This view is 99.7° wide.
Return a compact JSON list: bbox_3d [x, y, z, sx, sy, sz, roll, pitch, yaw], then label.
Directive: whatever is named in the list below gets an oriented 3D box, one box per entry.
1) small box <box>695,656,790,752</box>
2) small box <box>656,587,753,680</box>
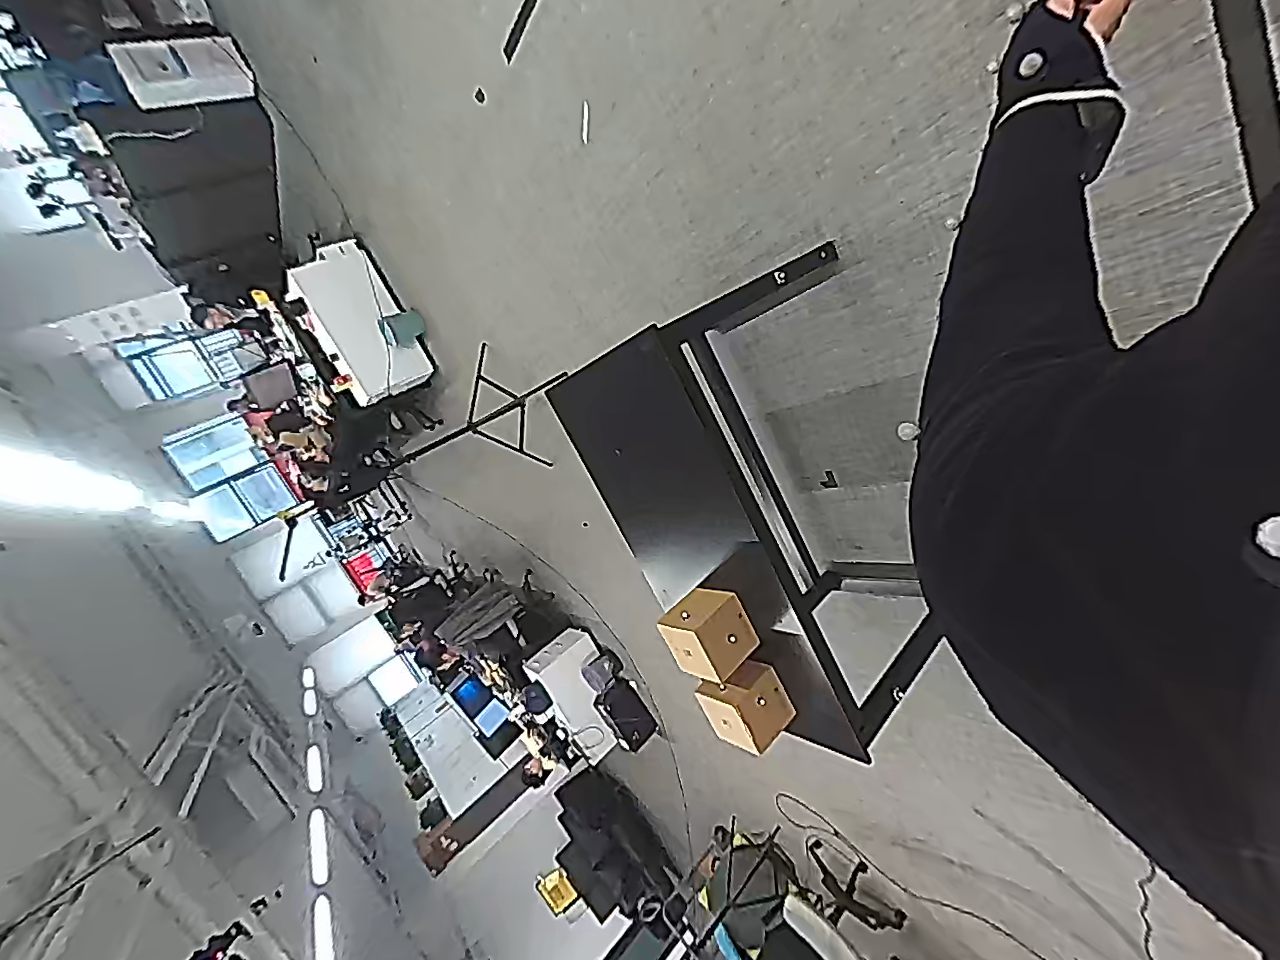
[{"bbox_3d":[0.293,0.614,1.513,0.179,0.176,0.168,-10,110,59],"label":"small box"},{"bbox_3d":[0.182,0.407,1.465,0.179,0.176,0.168,-9,111,58],"label":"small box"}]
